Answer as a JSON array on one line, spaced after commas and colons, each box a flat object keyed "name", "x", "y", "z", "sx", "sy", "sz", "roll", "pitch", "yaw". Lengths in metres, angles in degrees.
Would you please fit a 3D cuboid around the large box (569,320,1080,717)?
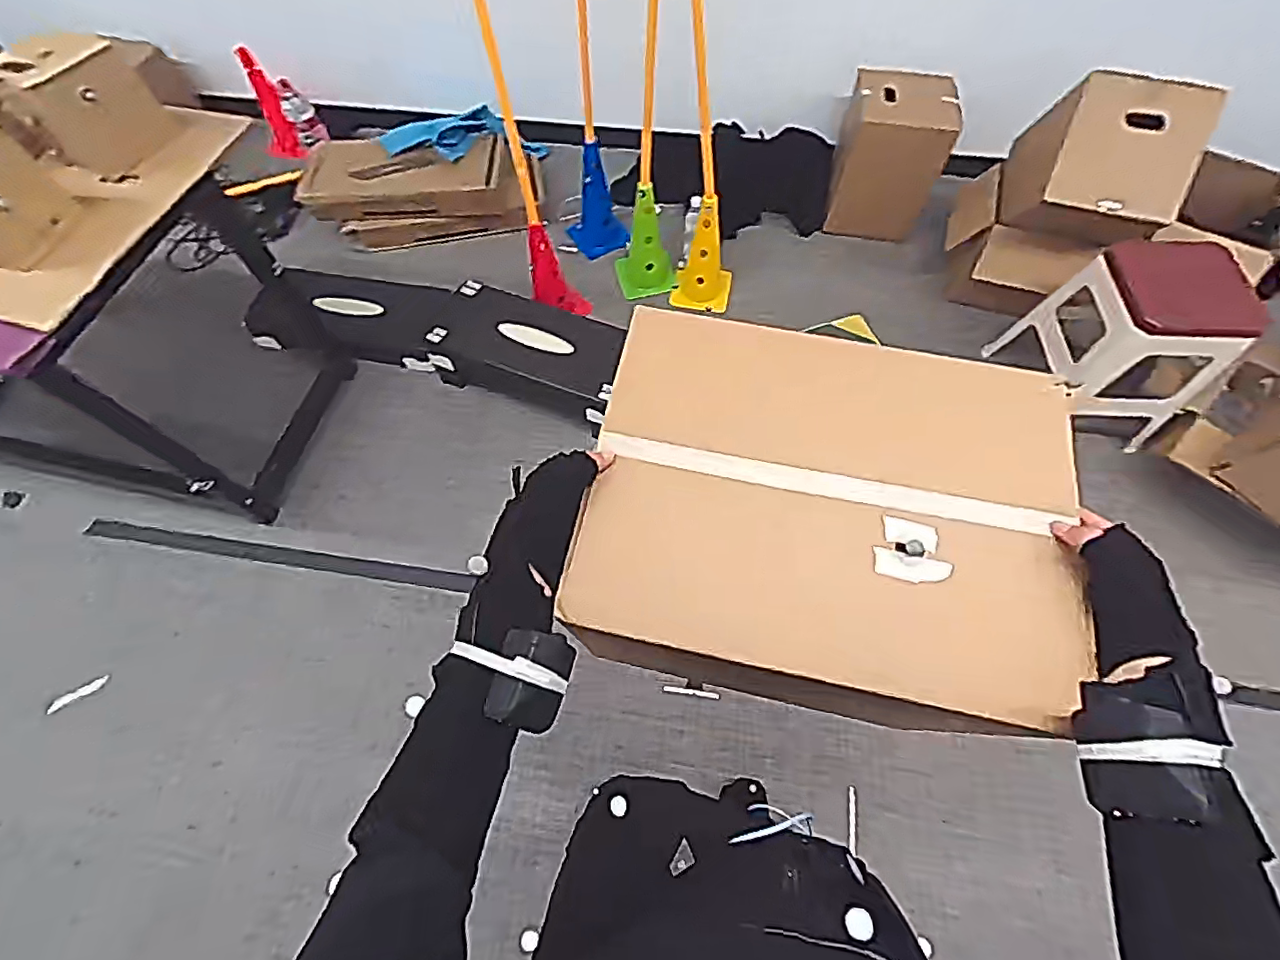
[{"name": "large box", "x": 0.161, "y": 0.065, "z": 0.610, "sx": 0.408, "sy": 0.320, "sz": 0.320, "roll": 11, "pitch": 68, "yaw": 4}]
